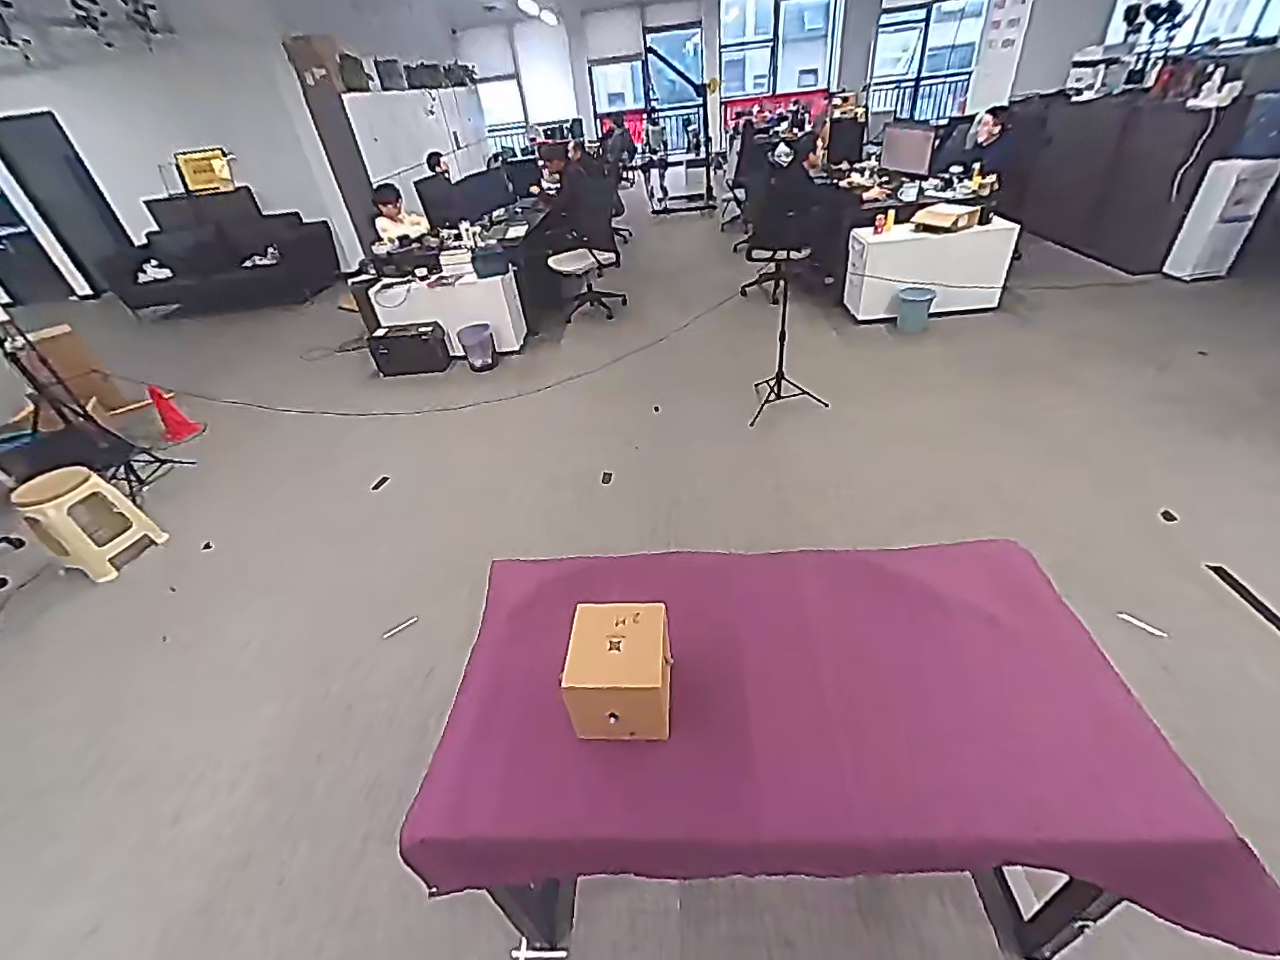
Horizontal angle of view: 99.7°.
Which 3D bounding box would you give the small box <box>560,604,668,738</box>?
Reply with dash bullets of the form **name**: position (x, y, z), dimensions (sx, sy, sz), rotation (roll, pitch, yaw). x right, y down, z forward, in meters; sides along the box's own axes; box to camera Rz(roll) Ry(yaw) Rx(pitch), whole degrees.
- **small box**: position (-0.037, 0.348, 0.986), dimensions (0.168, 0.176, 0.179), rotation (-2, 37, 6)
